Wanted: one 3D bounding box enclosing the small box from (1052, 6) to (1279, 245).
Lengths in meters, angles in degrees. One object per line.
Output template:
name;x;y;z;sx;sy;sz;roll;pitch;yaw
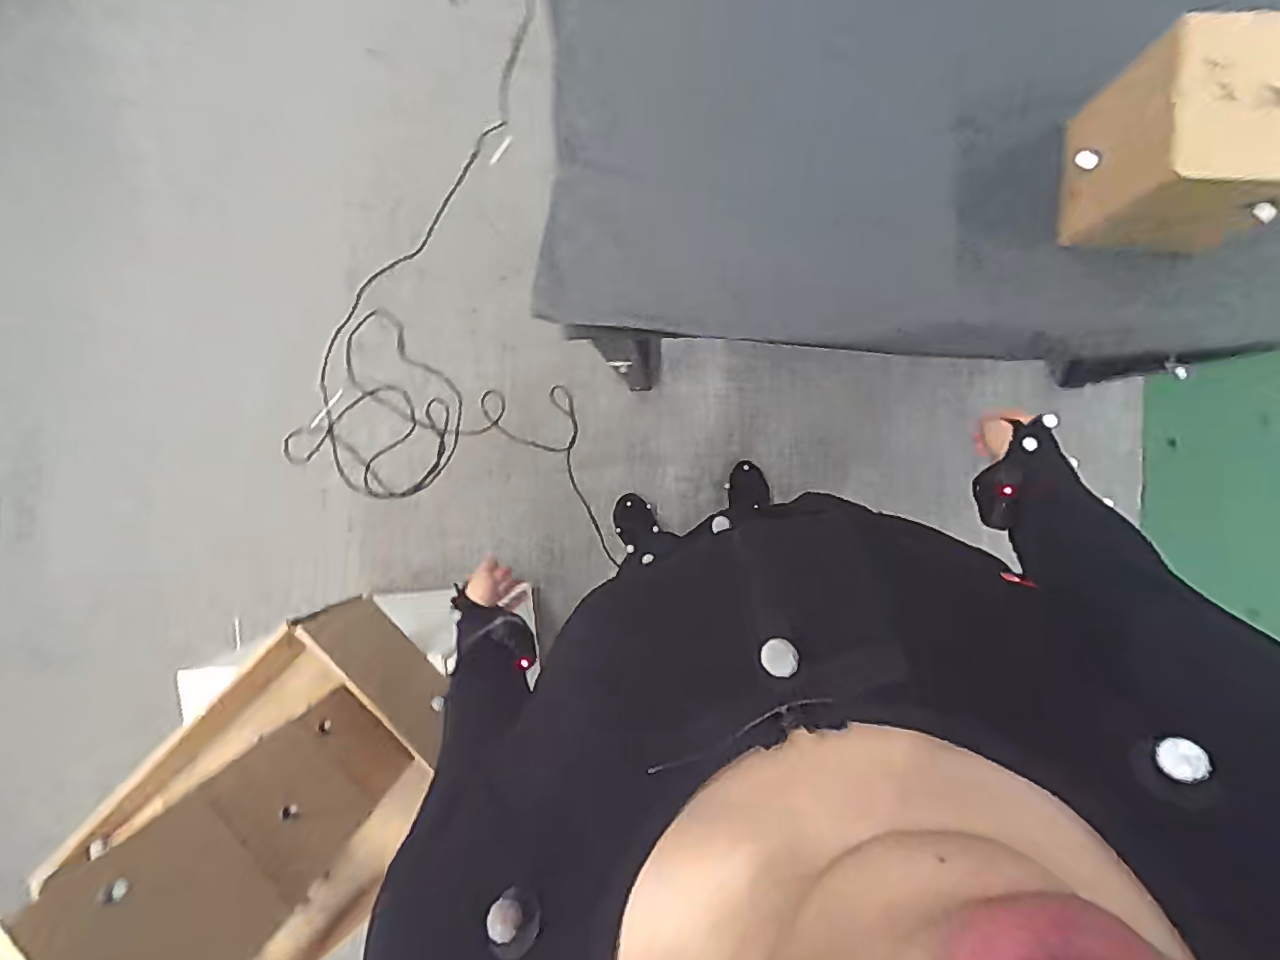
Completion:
small box;0.621;-0.383;0.612;0.179;0.176;0.168;4;91;5

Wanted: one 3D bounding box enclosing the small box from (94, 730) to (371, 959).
small box;-0.486;0.446;0.672;0.168;0.176;0.179;-42;91;7
